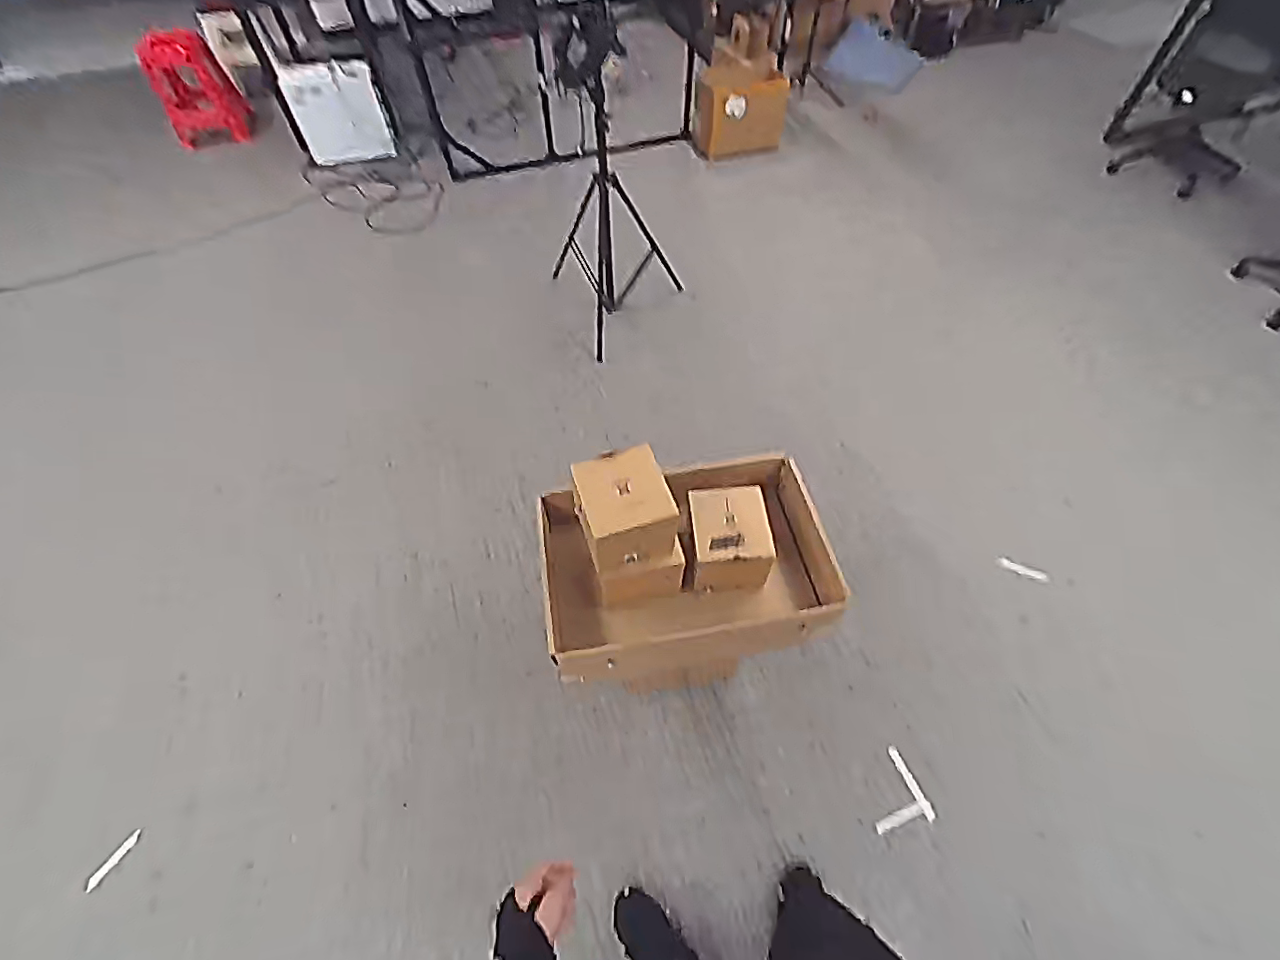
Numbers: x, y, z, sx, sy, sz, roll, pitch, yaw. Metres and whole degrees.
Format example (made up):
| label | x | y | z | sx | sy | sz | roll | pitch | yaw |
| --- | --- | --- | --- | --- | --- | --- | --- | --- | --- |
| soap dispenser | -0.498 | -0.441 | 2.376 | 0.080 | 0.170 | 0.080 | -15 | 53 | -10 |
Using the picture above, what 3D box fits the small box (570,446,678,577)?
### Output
| label | x | y | z | sx | sy | sz | roll | pitch | yaw |
| --- | --- | --- | --- | --- | --- | --- | --- | --- | --- |
| small box | -0.035 | 0.065 | 1.080 | 0.168 | 0.176 | 0.179 | -16 | 57 | -11 |
